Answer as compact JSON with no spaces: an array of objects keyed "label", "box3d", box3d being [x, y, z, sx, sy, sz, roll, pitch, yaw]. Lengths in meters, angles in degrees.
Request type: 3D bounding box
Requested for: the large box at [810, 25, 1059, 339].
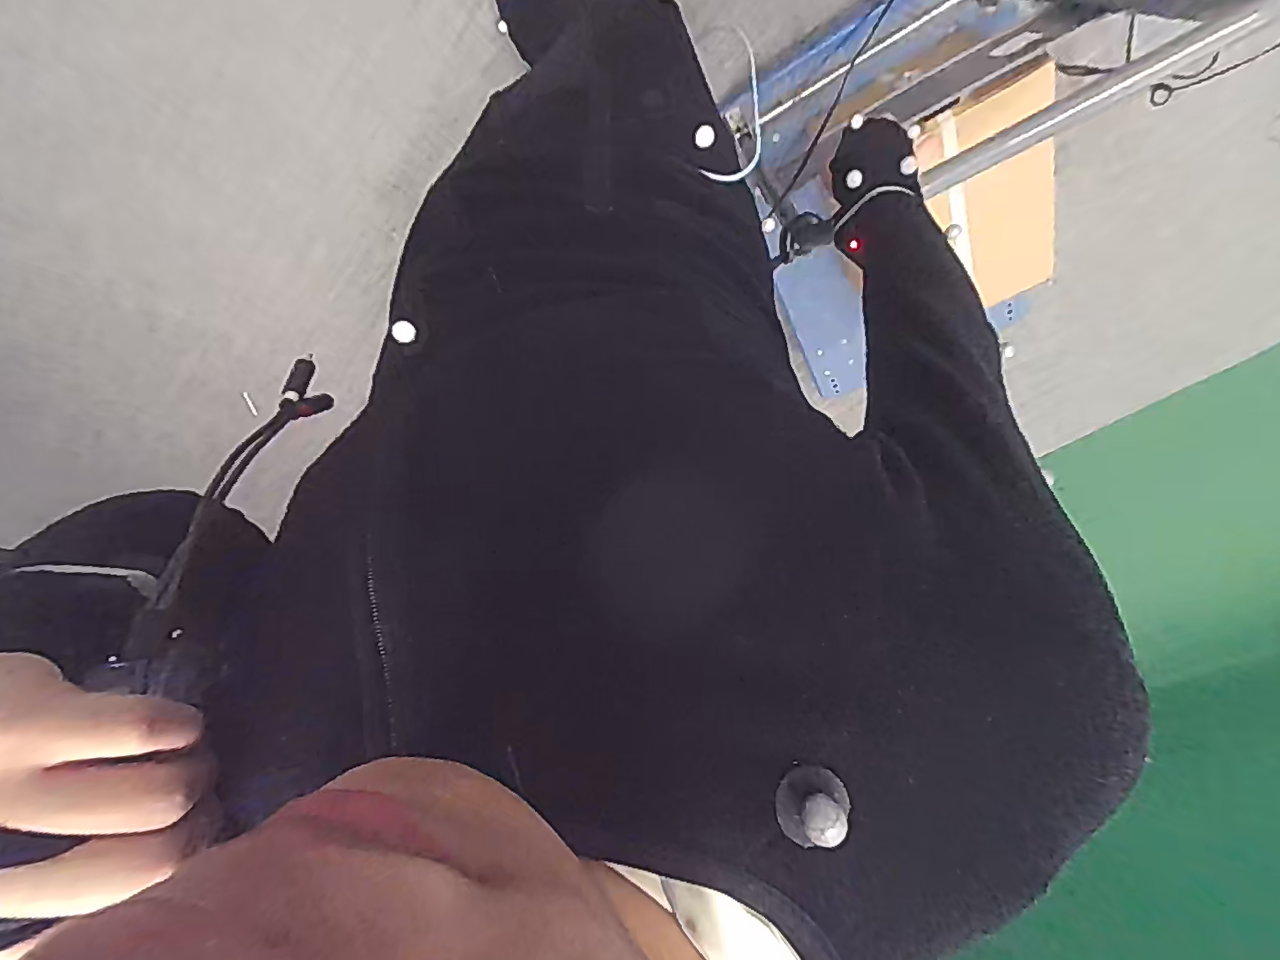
[{"label":"large box","box3d":[0.583,-0.580,1.086,0.320,0.320,0.408,-23,134,20]}]
